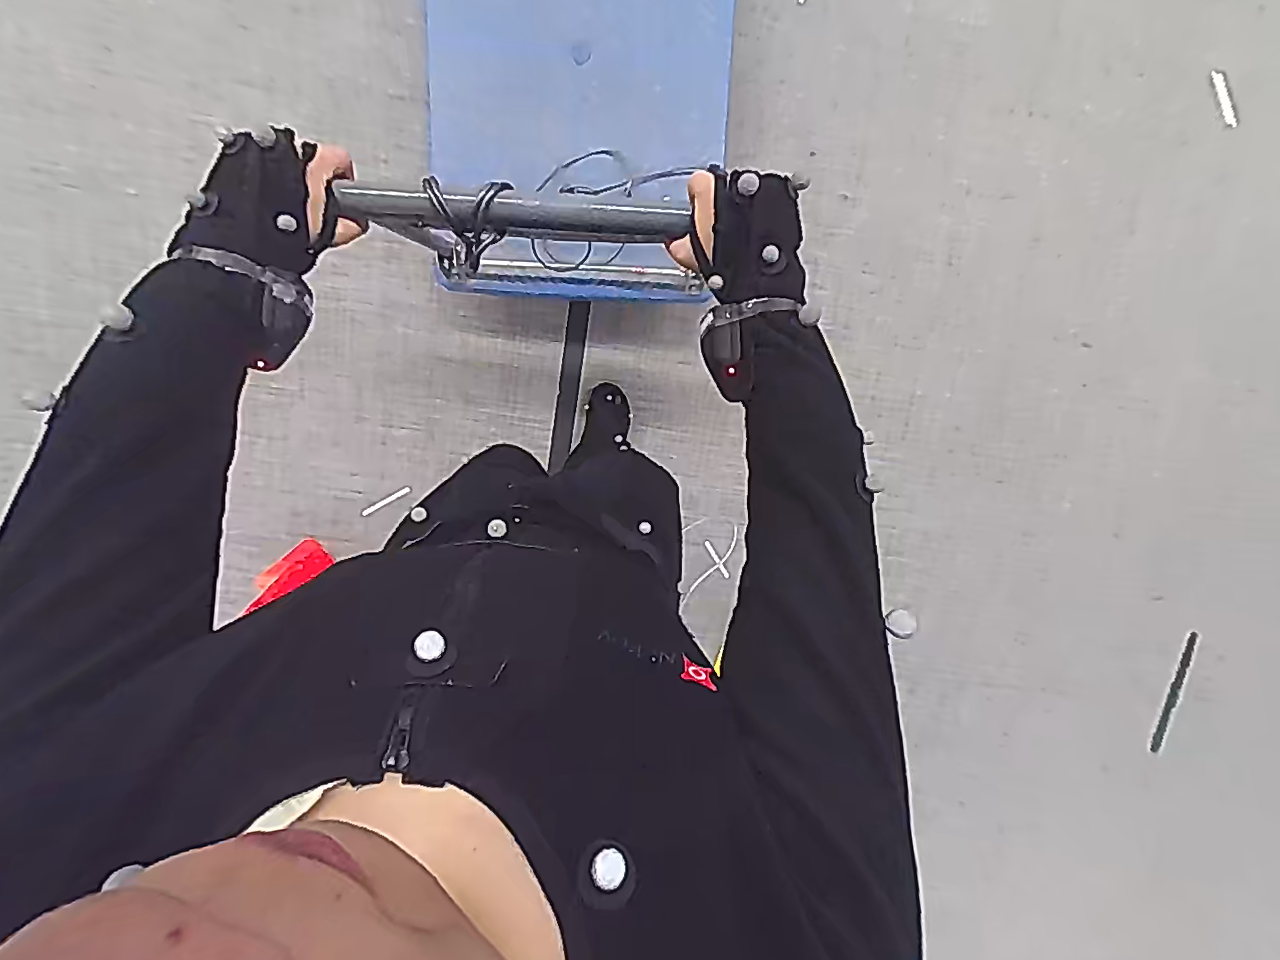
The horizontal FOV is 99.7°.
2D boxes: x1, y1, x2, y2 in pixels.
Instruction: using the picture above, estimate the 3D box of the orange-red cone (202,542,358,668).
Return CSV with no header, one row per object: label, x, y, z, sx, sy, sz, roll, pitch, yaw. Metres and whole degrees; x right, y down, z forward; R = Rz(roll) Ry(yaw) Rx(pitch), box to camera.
orange-red cone,-0.839,0.309,1.214,0.199,0.360,0.198,-36,102,4
